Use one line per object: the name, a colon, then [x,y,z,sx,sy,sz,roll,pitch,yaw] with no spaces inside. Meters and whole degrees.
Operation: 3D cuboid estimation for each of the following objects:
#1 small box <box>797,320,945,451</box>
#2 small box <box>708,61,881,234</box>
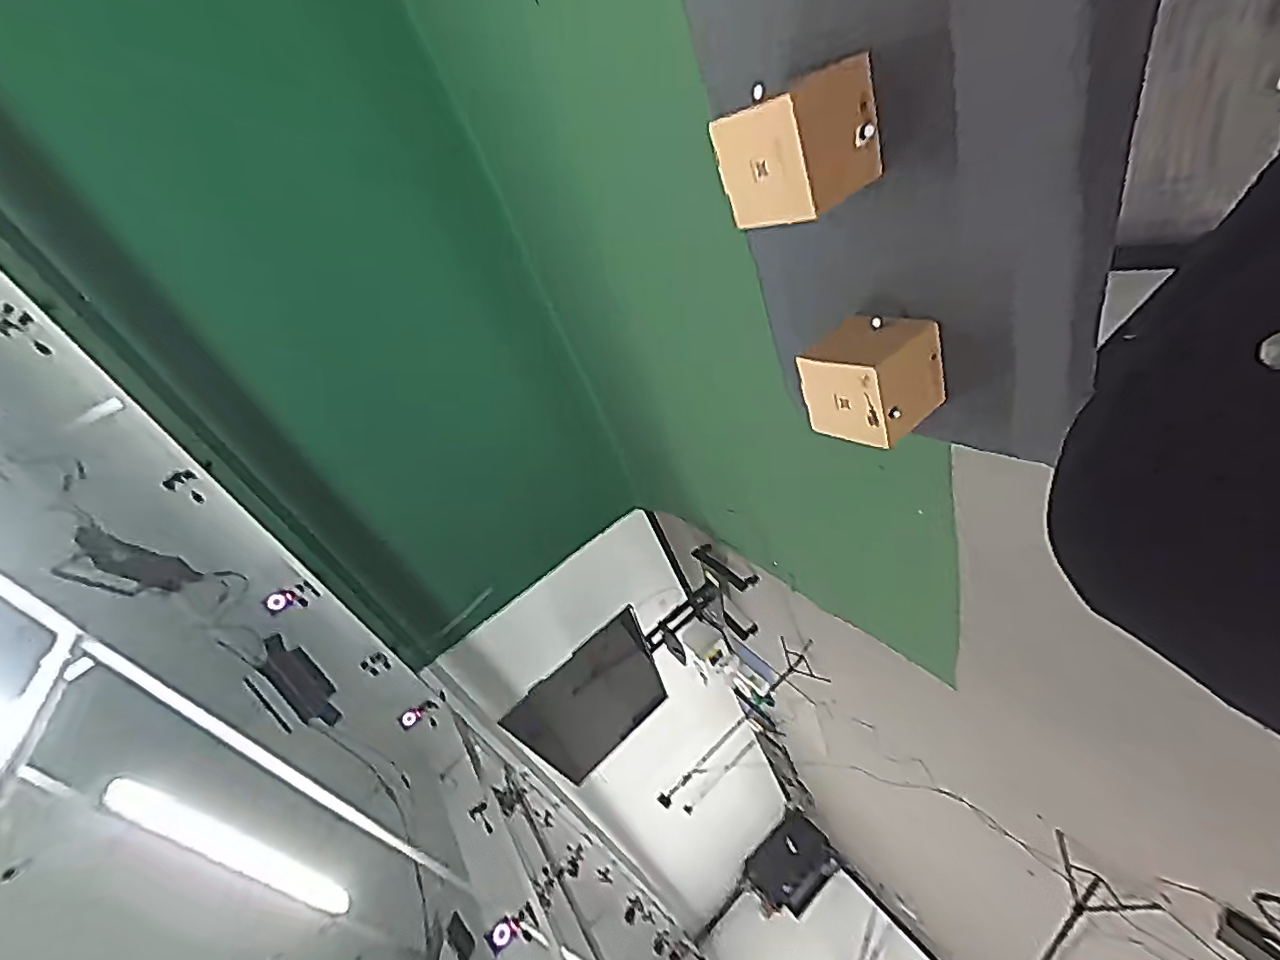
small box: [0.429,-0.183,1.005,0.179,0.176,0.168,29,151,54]
small box: [0.243,-0.511,0.849,0.179,0.176,0.168,25,149,53]
